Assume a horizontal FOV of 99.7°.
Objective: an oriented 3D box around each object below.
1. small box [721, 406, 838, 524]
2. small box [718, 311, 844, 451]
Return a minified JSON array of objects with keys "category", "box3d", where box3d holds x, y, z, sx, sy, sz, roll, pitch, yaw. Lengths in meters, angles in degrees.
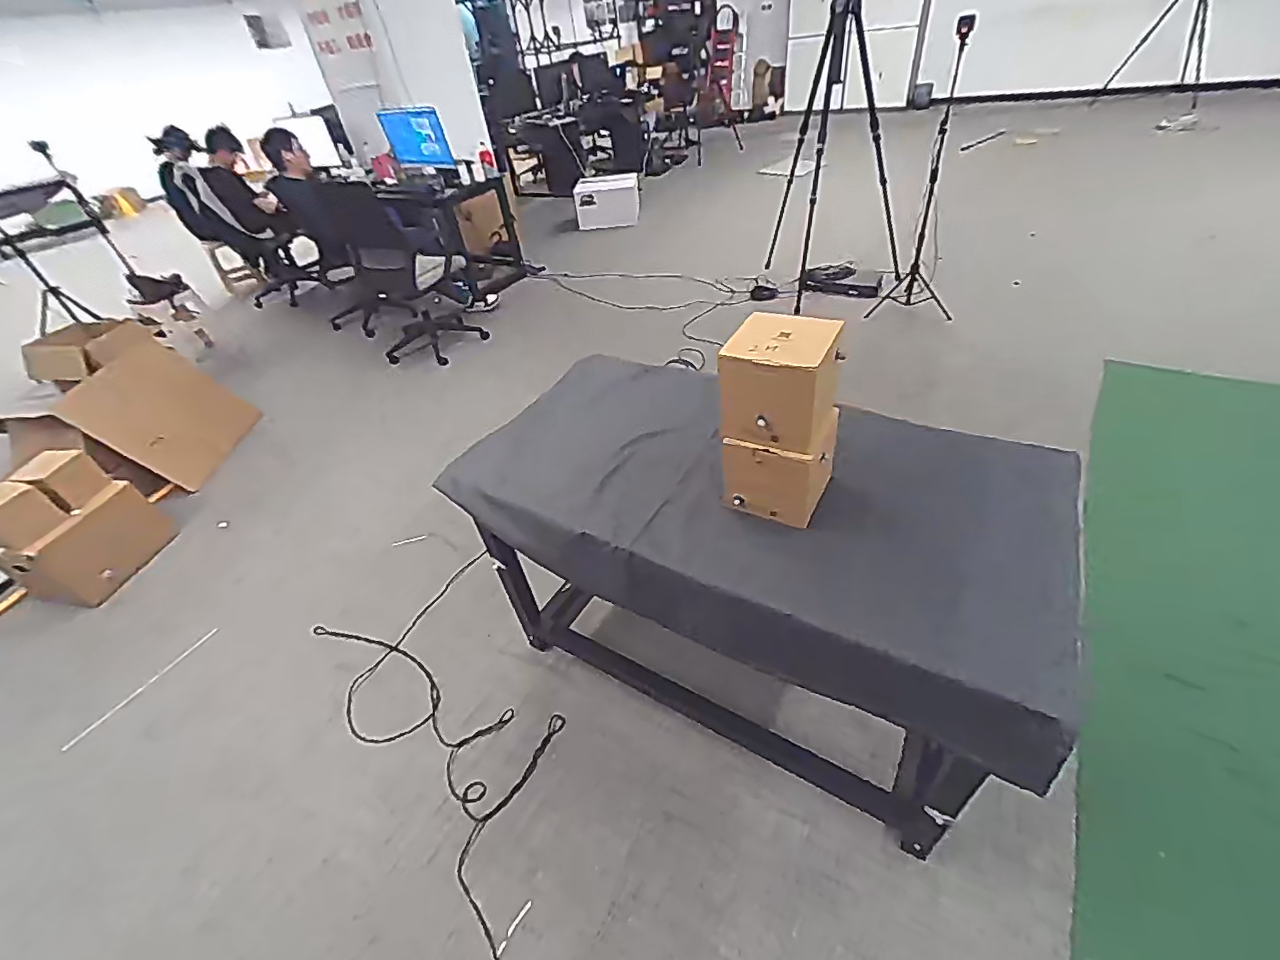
[{"category":"small box","box3d":[0.270,-0.041,1.047,0.168,0.176,0.179,17,46,27]},{"category":"small box","box3d":[0.247,-0.177,0.956,0.168,0.176,0.179,15,47,27]}]
